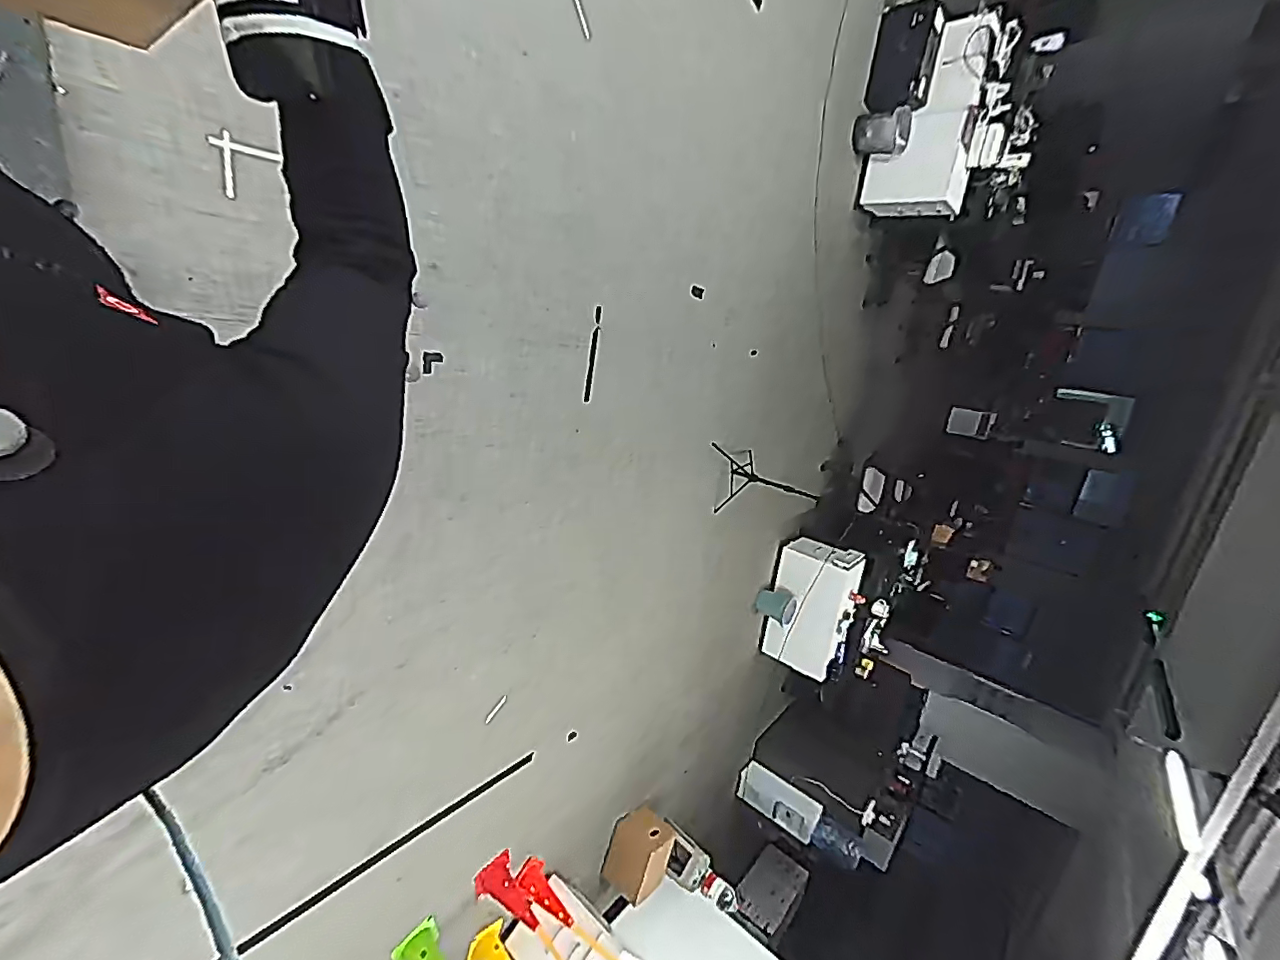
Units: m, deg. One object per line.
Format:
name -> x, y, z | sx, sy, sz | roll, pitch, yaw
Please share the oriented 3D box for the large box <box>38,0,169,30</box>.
large box -> -0.475, -0.489, 0.233 | 0.408, 0.320, 0.320 | -14, 119, -49
